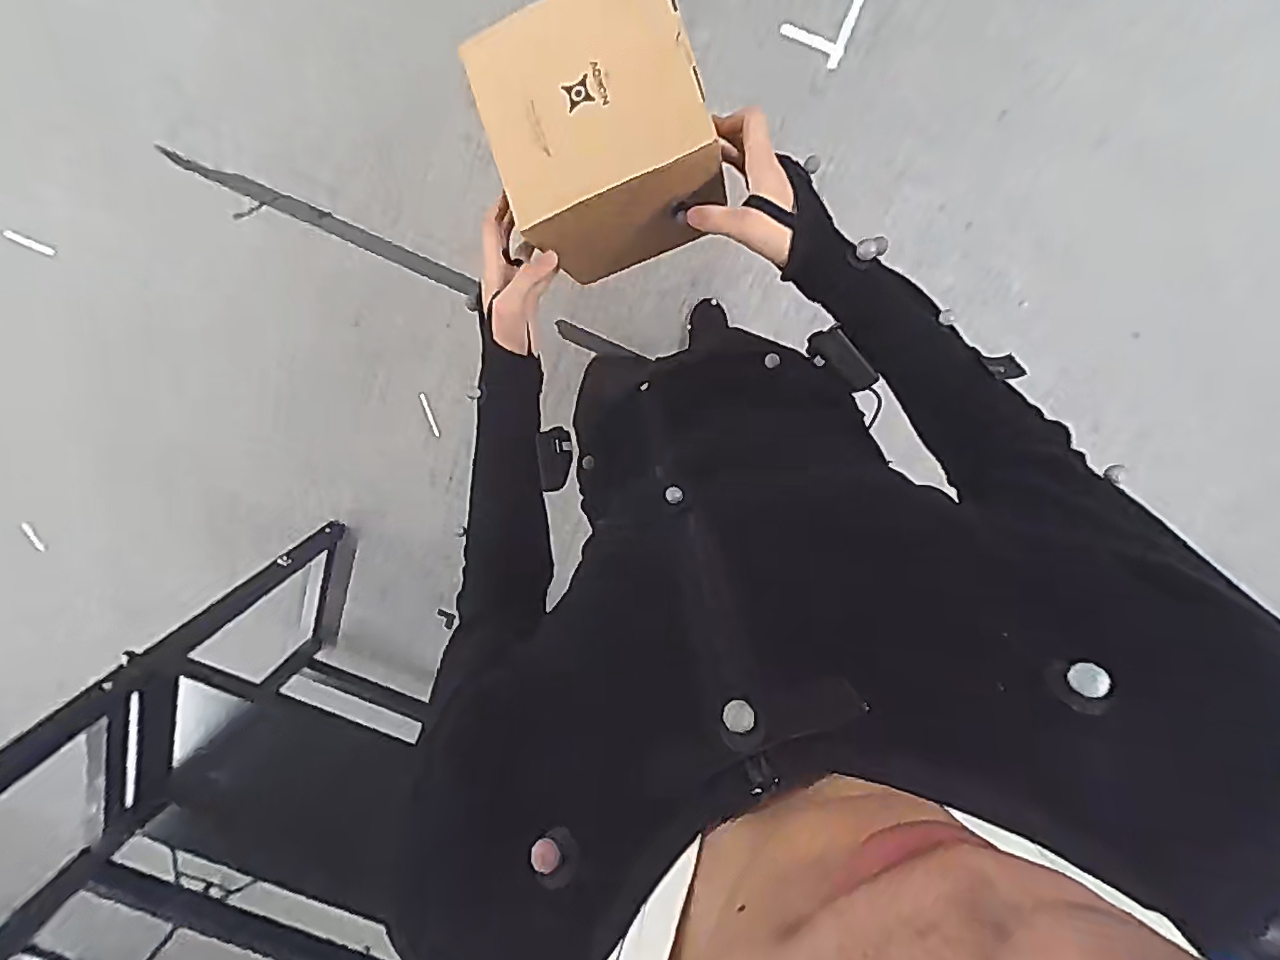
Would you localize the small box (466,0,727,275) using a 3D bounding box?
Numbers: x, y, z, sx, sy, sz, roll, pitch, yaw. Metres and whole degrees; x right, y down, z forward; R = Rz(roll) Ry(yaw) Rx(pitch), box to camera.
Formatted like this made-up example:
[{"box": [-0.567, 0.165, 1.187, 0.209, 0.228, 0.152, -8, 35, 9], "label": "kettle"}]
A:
[{"box": [-0.024, -0.318, 0.499, 0.179, 0.176, 0.168, -17, 89, 12], "label": "small box"}]
